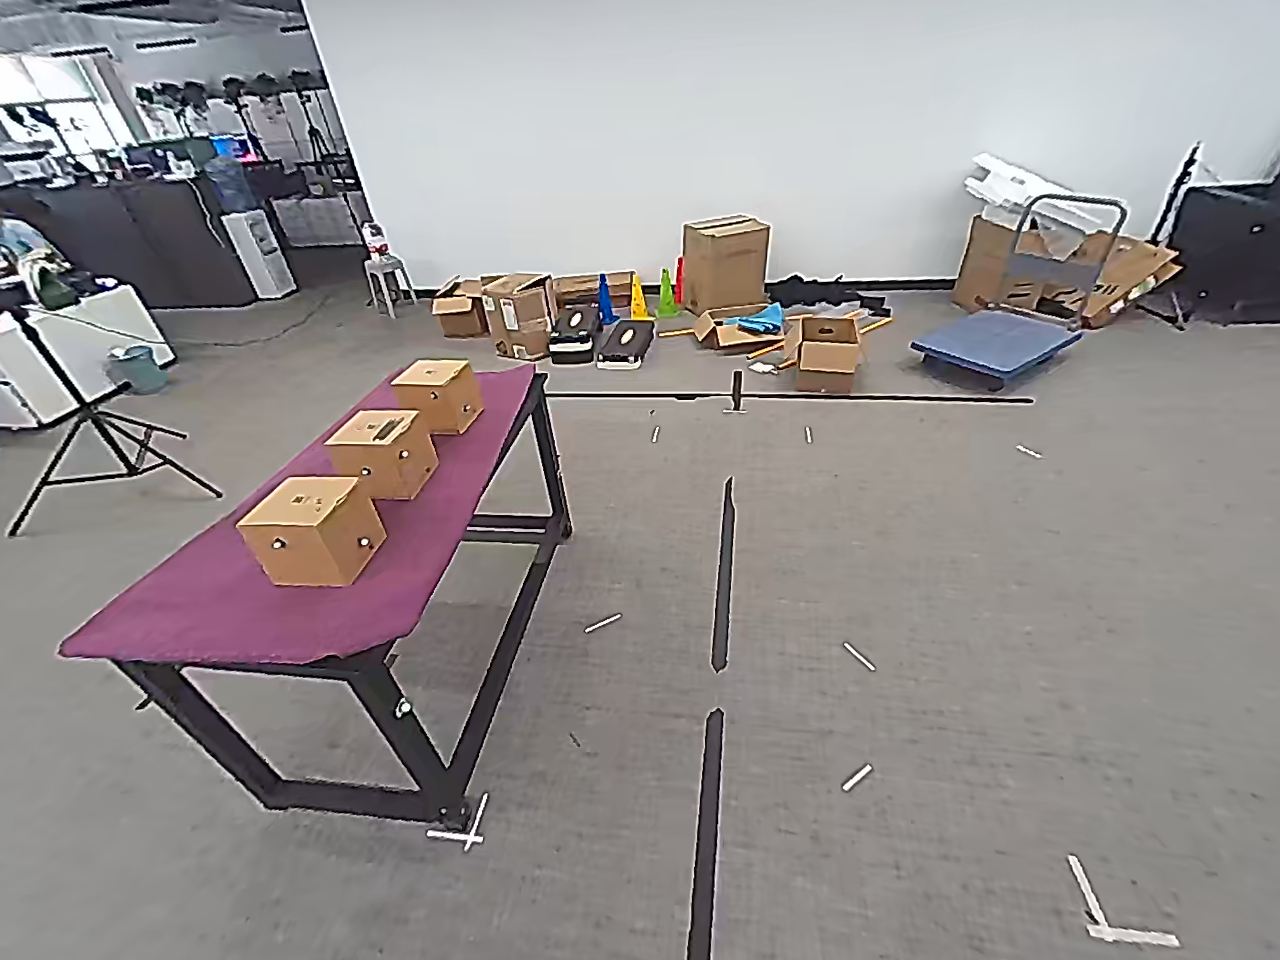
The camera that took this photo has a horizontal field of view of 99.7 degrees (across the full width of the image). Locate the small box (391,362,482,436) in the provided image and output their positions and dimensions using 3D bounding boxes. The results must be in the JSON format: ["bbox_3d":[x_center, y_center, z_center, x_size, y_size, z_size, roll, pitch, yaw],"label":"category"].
[{"bbox_3d":[-0.605,-0.243,1.627,0.179,0.176,0.168,3,37,12],"label":"small box"}]

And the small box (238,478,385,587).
[{"bbox_3d":[-0.682,0.111,1.145,0.179,0.176,0.168,1,35,7],"label":"small box"}]
